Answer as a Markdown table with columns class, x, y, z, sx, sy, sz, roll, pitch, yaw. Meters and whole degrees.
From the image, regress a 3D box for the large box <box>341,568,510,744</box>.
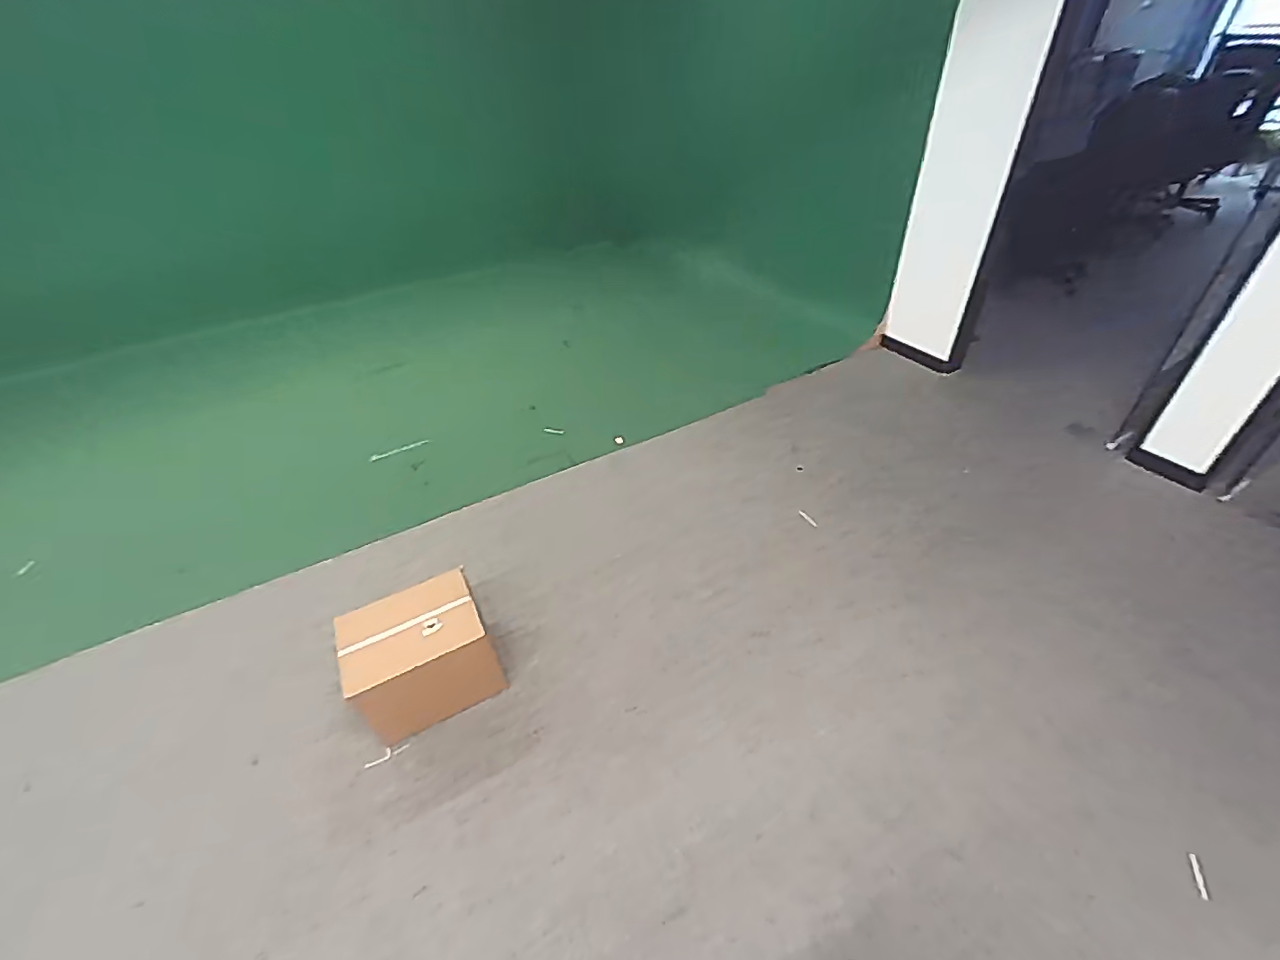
| class | x | y | z | sx | sy | sz | roll | pitch | yaw |
| --- | --- | --- | --- | --- | --- | --- | --- | --- | --- |
| large box | -0.686 | 0.561 | 1.751 | 0.408 | 0.320 | 0.320 | -21 | 43 | -19 |
